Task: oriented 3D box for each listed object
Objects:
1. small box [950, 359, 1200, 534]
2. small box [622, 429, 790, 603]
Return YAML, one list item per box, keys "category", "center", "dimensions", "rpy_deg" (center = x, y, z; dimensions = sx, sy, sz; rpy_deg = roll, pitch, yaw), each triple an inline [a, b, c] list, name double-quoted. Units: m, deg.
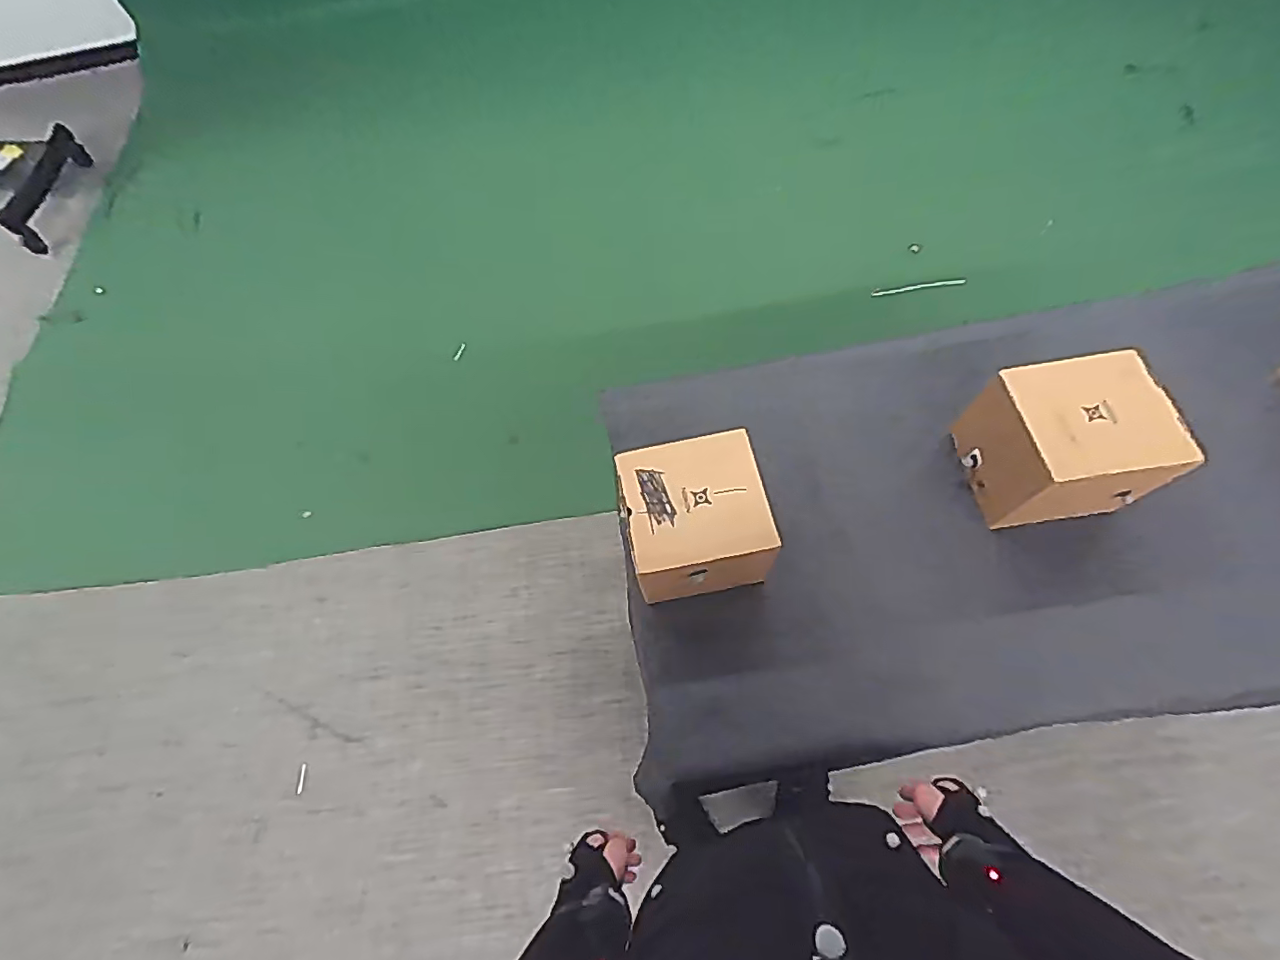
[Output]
- category: "small box"
  center: [0.573, -0.039, 0.745]
  dimensions: [0.179, 0.176, 0.168]
  rpy_deg: [-9, 63, 0]
- category: "small box"
  center: [0.079, 0.056, 0.724]
  dimensions: [0.179, 0.176, 0.168]
  rpy_deg: [-10, 64, -3]
